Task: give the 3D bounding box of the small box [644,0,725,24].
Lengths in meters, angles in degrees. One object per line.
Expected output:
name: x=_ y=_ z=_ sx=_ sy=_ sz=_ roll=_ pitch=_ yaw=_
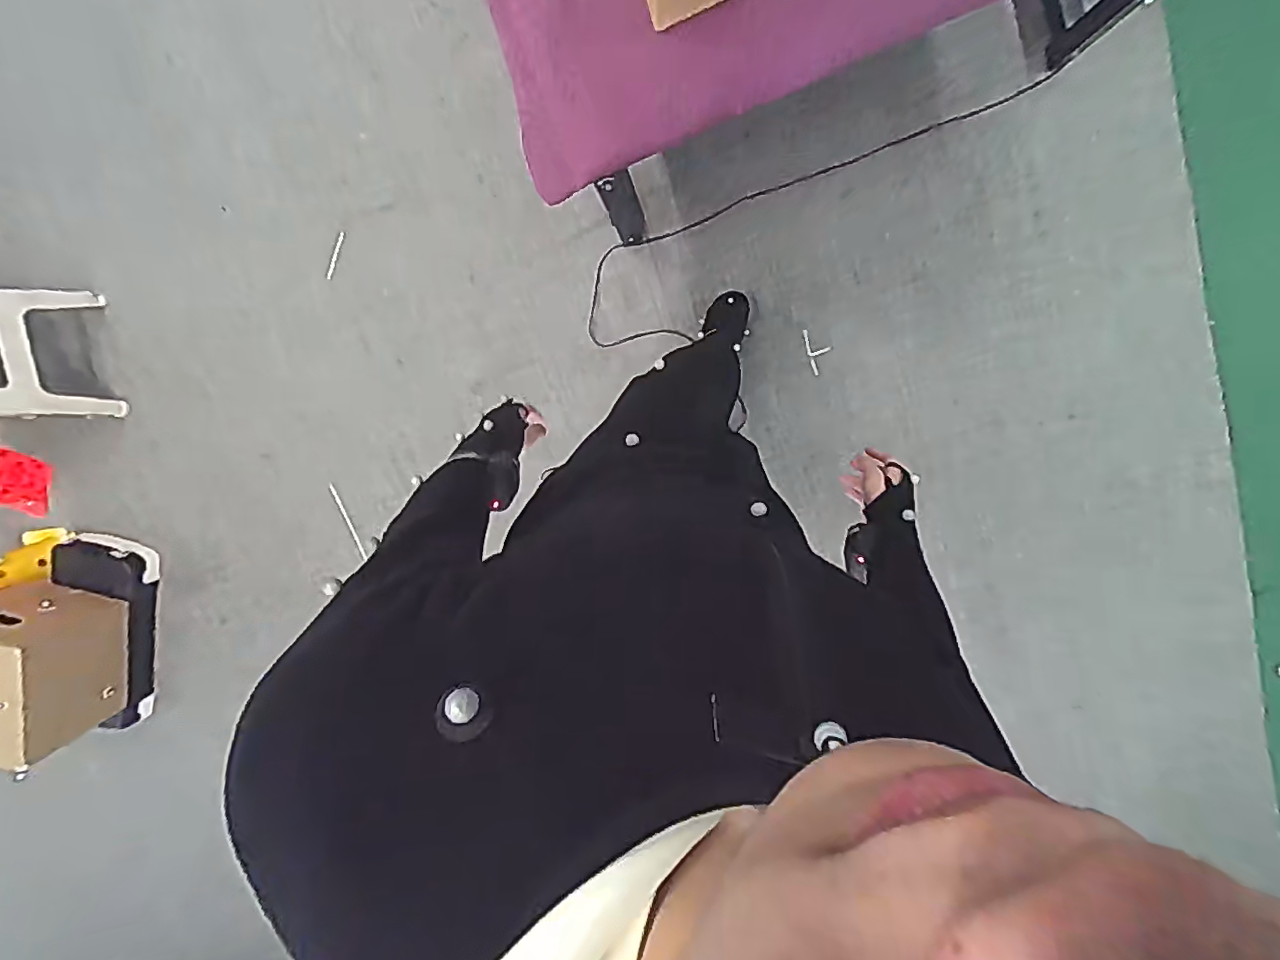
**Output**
small box: x=0.062 y=-0.713 z=0.659 sx=0.168 sy=0.176 sz=0.179 roll=-21 pitch=98 yaw=8
